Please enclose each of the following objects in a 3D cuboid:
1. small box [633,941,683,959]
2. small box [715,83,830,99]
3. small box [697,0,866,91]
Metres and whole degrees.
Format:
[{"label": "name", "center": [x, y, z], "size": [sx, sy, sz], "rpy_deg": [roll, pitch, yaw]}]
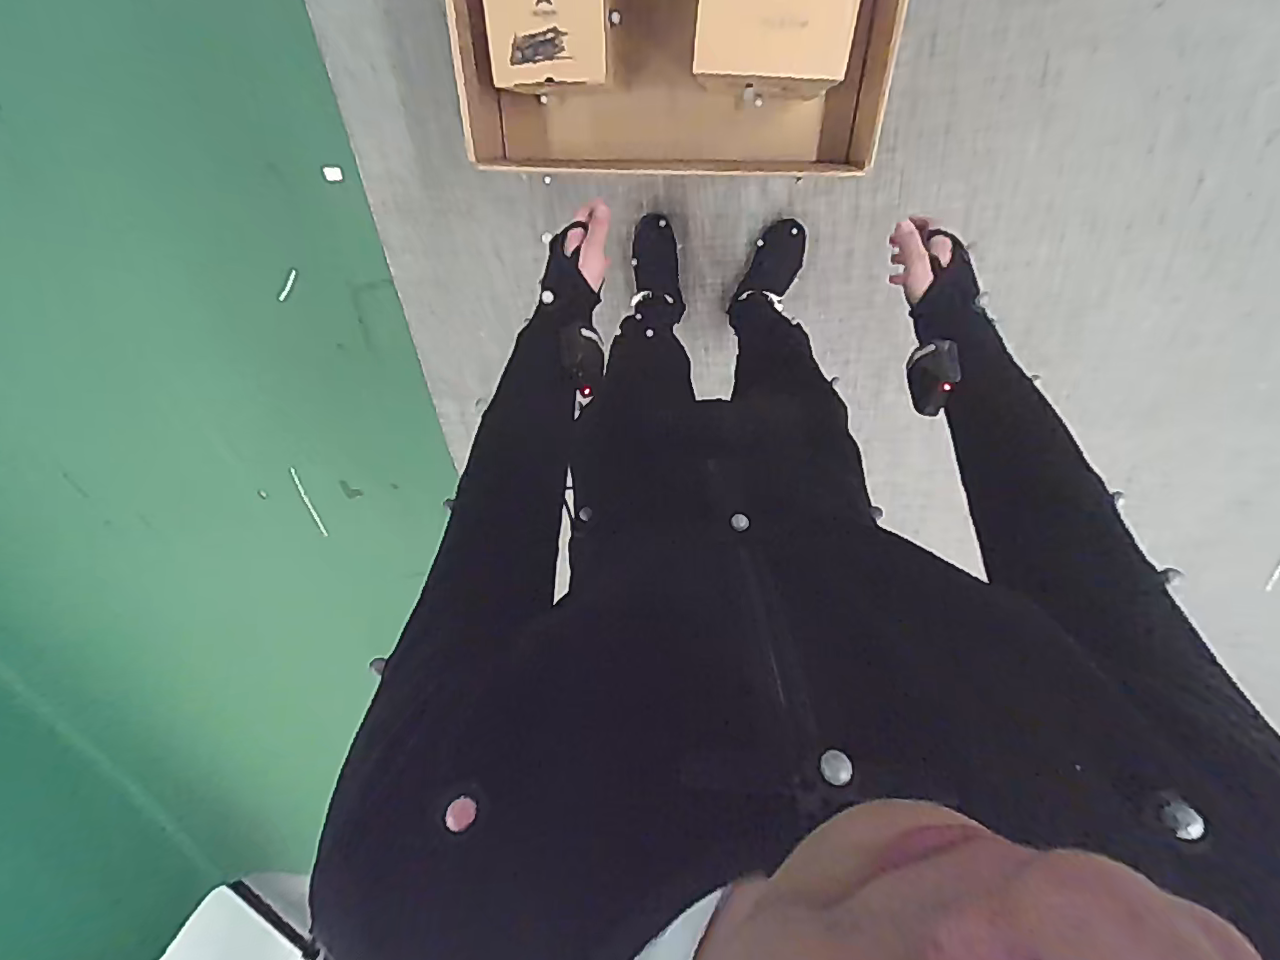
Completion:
[{"label": "small box", "center": [0.062, 1.741, 1.869], "size": [0.168, 0.176, 0.179], "rpy_deg": [-3, 120, 11]}, {"label": "small box", "center": [0.186, -0.636, 0.734], "size": [0.168, 0.176, 0.179], "rpy_deg": [8, 123, 5]}, {"label": "small box", "center": [0.157, -0.550, 0.598], "size": [0.168, 0.176, 0.179], "rpy_deg": [8, 123, 5]}]
